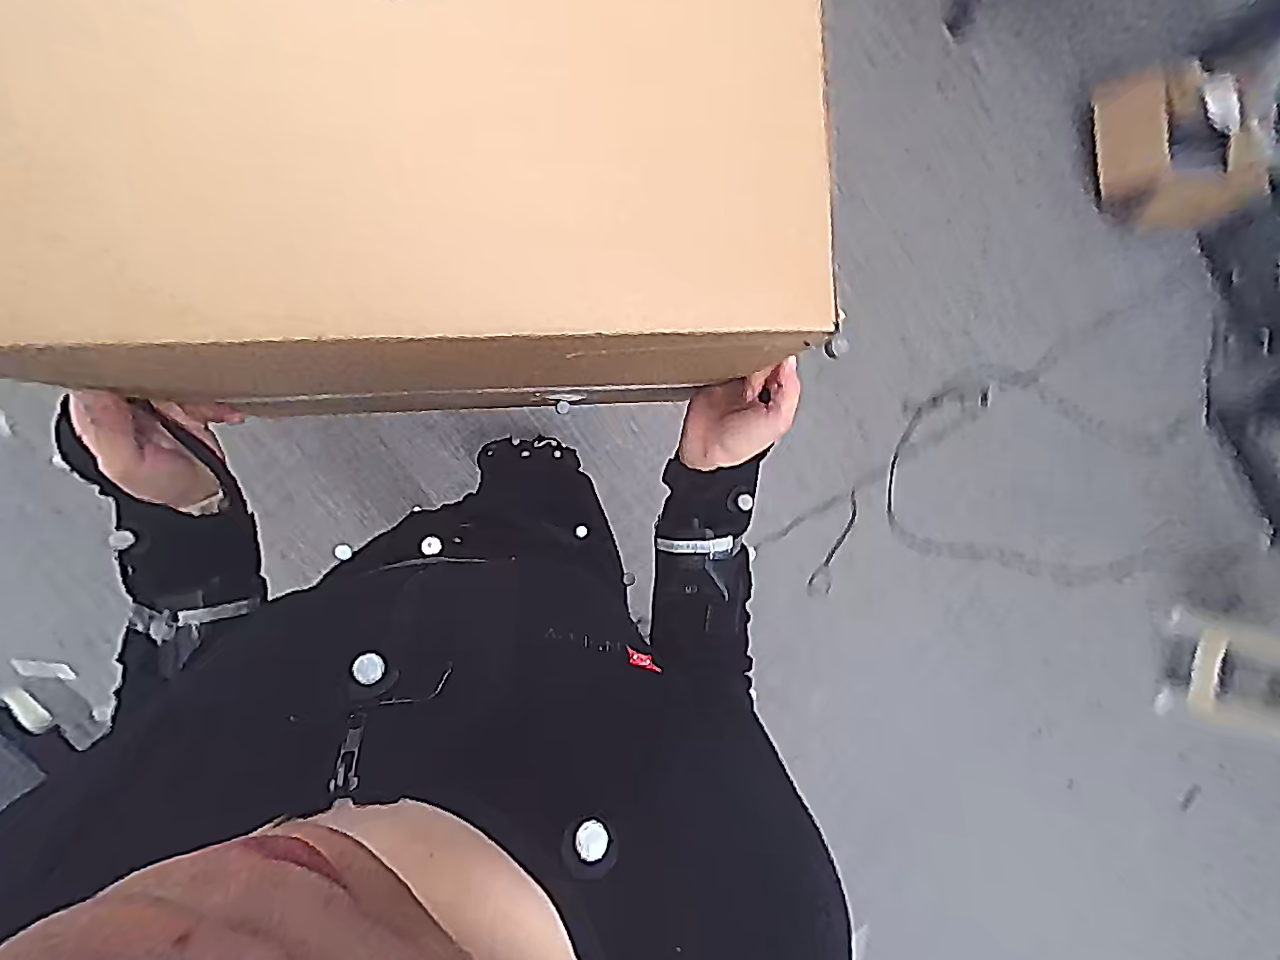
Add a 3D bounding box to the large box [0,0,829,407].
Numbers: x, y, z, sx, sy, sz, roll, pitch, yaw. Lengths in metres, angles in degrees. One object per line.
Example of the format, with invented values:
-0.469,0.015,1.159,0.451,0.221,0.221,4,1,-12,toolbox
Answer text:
-0.140,-0.234,0.375,0.408,0.320,0.320,-6,95,-10,large box
